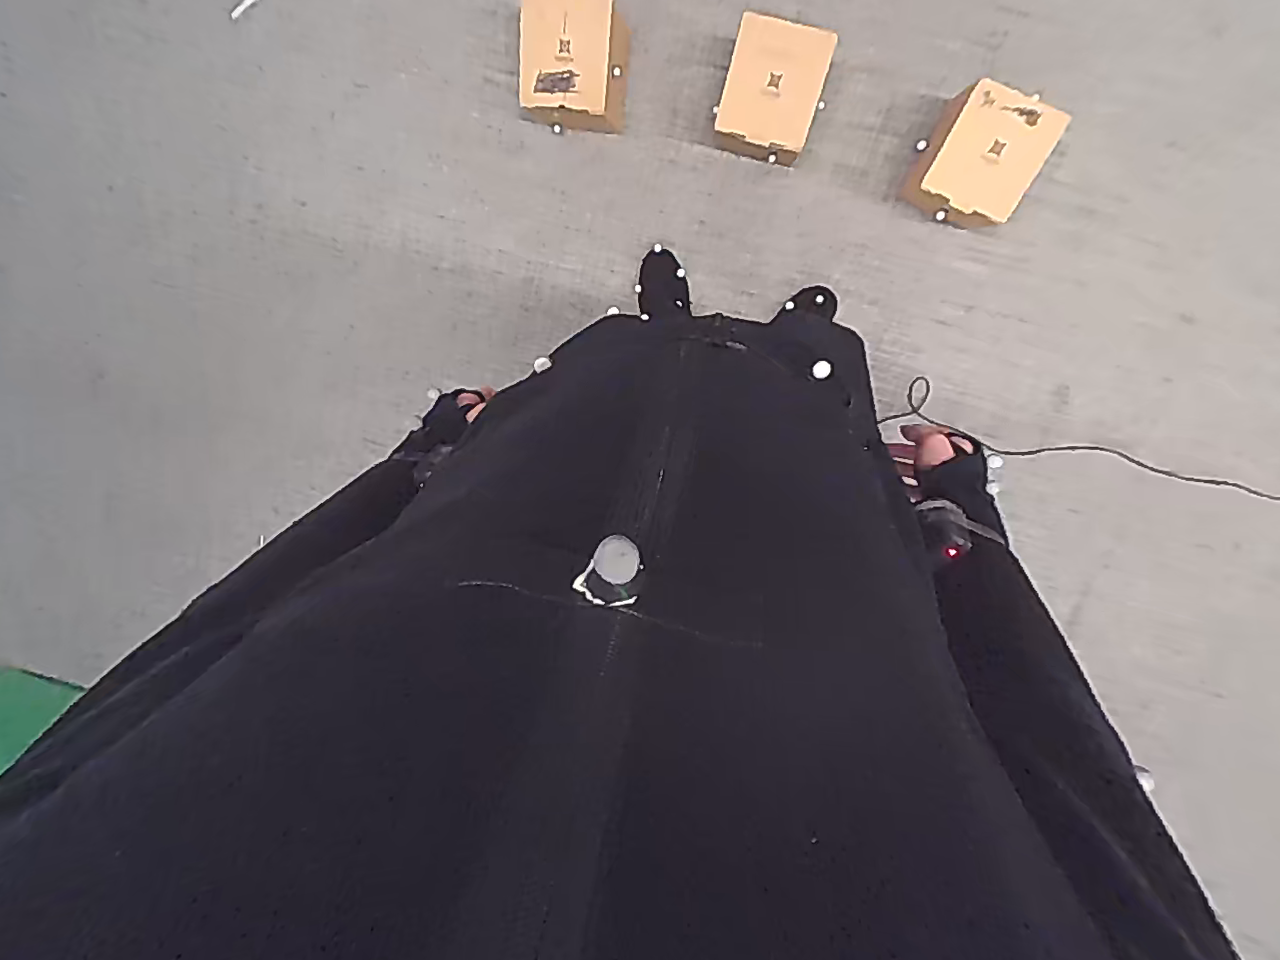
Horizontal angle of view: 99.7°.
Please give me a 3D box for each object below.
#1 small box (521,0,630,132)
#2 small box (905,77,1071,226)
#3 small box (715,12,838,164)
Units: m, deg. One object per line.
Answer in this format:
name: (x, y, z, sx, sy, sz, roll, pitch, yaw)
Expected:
small box: (-0.118, -0.785, 1.032, 0.168, 0.176, 0.179, 9, 113, 6)
small box: (0.612, -0.581, 0.984, 0.168, 0.176, 0.179, 25, 115, 0)
small box: (0.244, -0.709, 1.001, 0.168, 0.176, 0.179, 15, 113, 3)
